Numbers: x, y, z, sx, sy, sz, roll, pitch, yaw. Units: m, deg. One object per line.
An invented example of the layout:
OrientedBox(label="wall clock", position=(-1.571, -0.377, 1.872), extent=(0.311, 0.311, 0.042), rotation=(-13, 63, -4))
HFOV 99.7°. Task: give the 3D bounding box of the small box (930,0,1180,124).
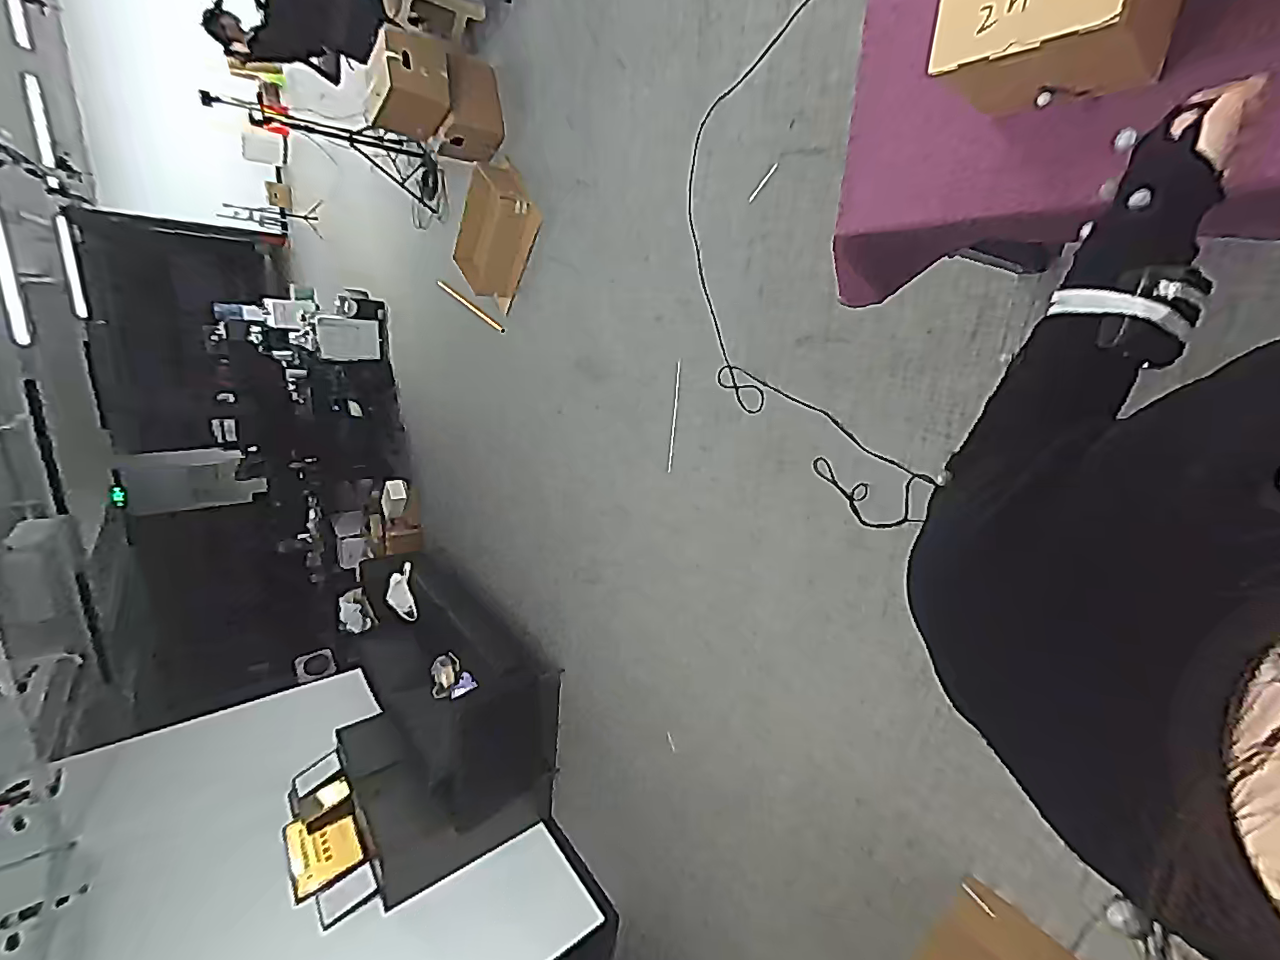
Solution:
OrientedBox(label="small box", position=(0.435, -0.504, 0.555), extent=(0.168, 0.176, 0.179), rotation=(23, 114, 48))
